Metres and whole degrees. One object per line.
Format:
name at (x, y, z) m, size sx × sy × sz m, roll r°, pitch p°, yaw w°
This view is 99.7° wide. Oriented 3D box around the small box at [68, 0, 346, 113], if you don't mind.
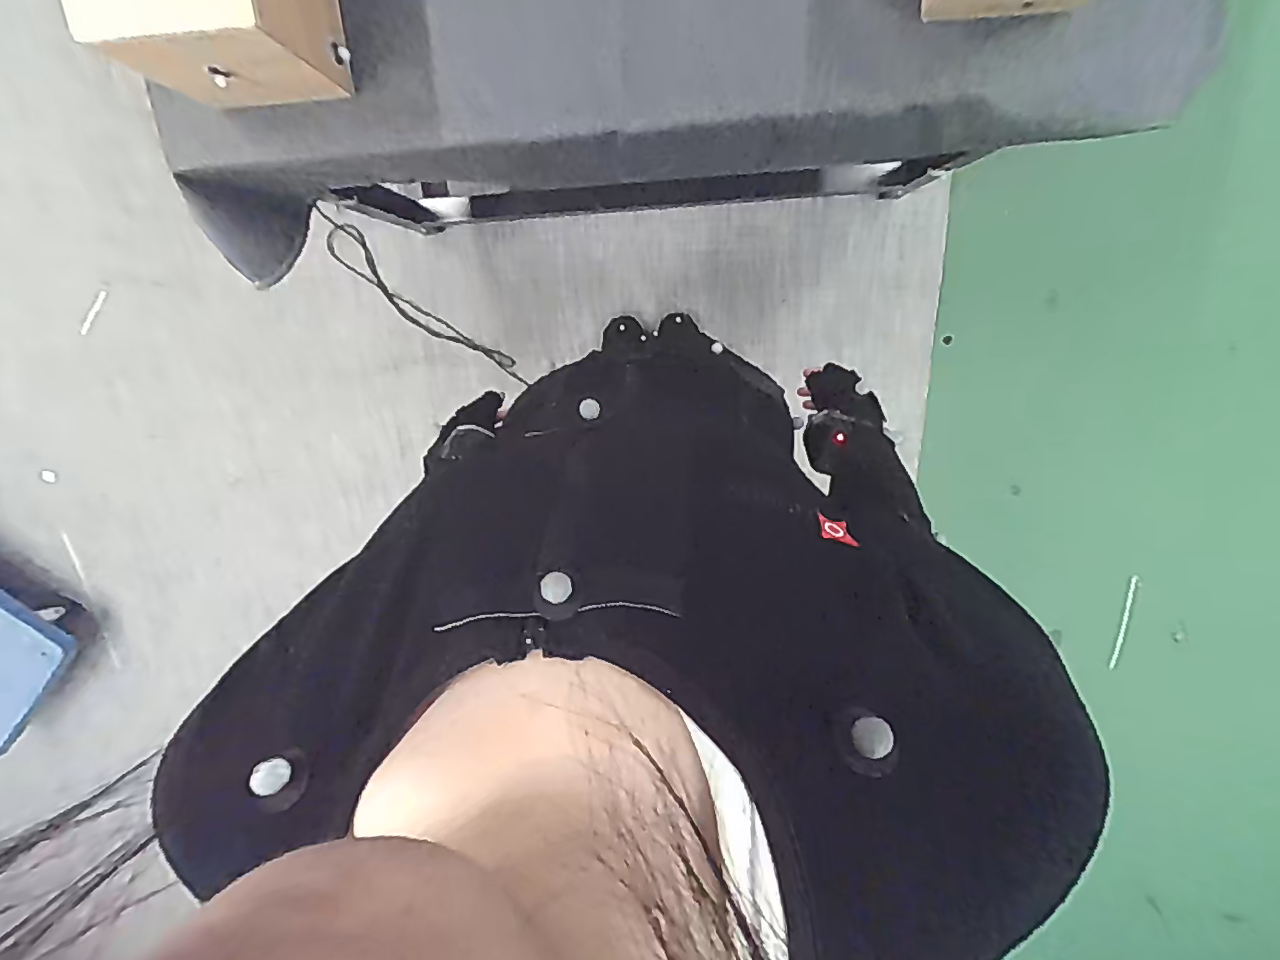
small box at (-0.425, -0.495, 0.543) m, size 0.179 × 0.176 × 0.168 m, roll -3°, pitch 106°, yaw 3°
